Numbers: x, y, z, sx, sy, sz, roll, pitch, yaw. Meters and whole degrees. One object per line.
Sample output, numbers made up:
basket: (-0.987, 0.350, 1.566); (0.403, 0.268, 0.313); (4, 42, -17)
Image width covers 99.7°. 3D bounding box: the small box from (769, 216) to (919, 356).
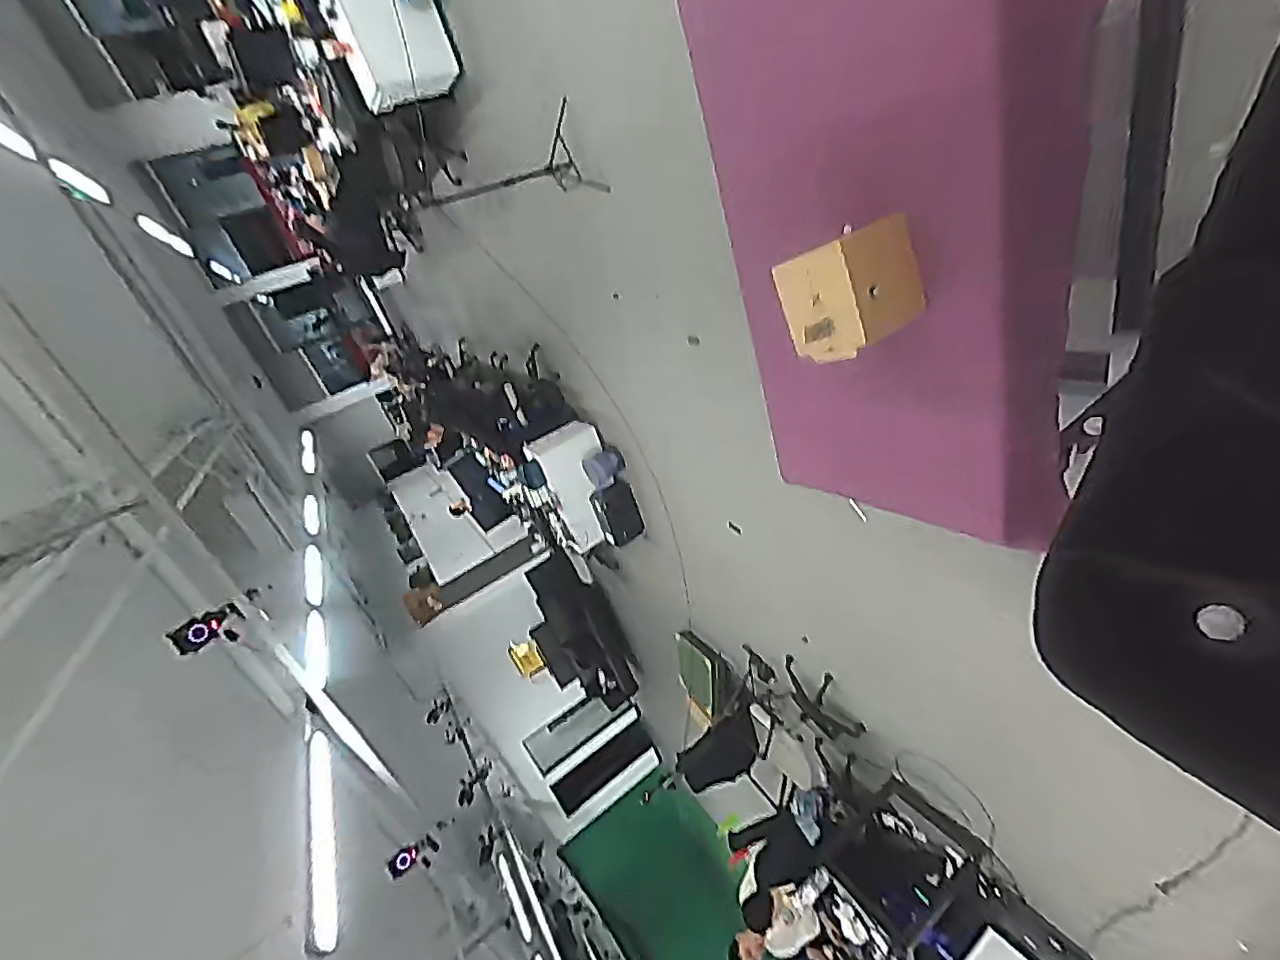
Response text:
small box: (0.374, -0.347, 0.984); (0.168, 0.176, 0.179); (11, 127, 62)
